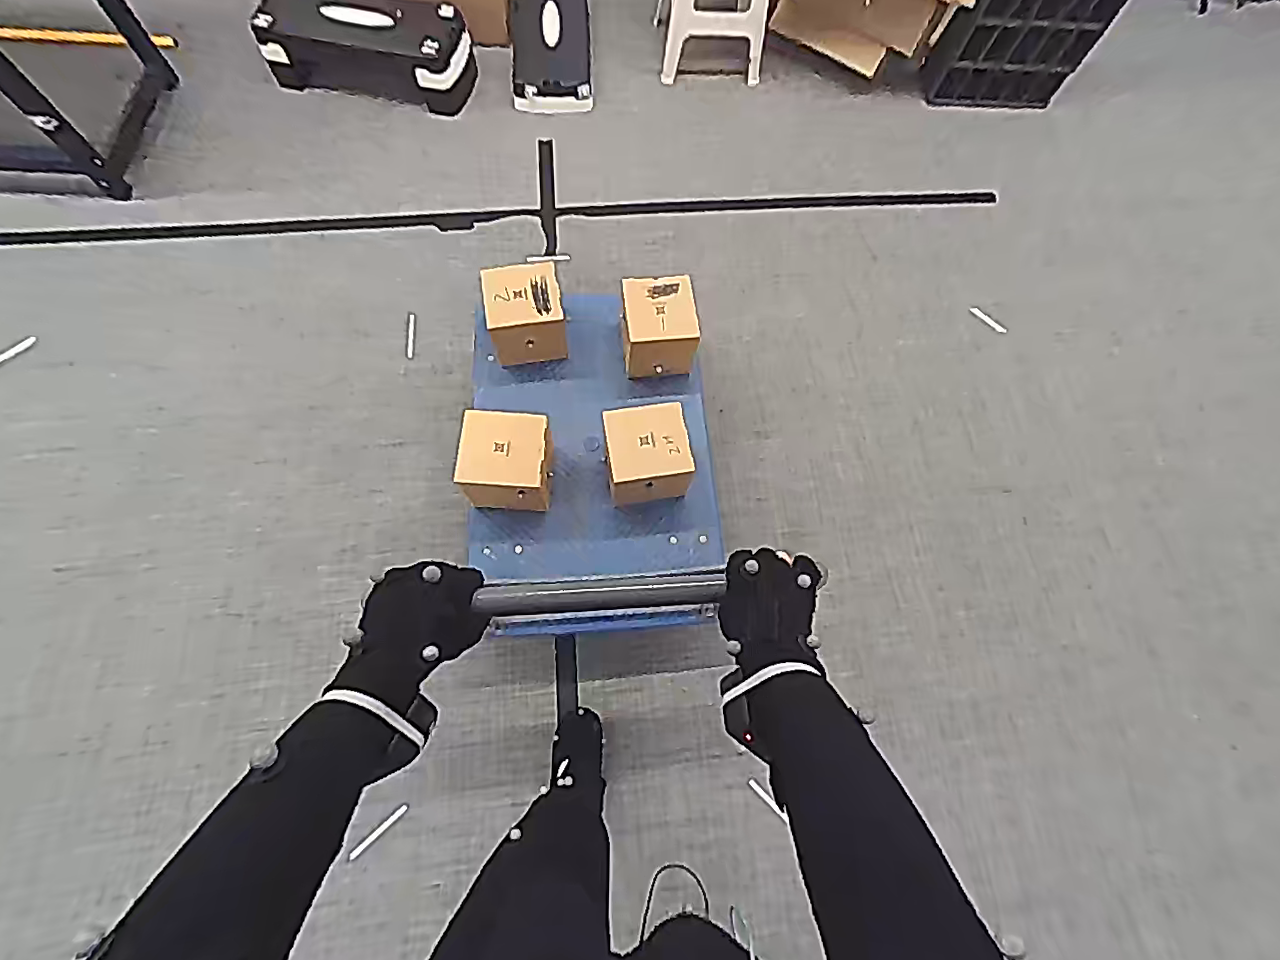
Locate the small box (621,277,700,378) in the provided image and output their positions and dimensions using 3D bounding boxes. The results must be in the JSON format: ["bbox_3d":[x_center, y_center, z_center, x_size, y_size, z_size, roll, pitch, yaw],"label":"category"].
[{"bbox_3d":[0.043,-0.370,1.325,0.168,0.176,0.179,-5,72,-5],"label":"small box"}]

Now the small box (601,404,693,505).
[{"bbox_3d":[0.011,-0.052,1.211,0.179,0.176,0.168,-8,71,-6],"label":"small box"}]

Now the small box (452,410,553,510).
[{"bbox_3d":[-0.292,-0.037,1.187,0.179,0.176,0.168,4,70,-4],"label":"small box"}]
